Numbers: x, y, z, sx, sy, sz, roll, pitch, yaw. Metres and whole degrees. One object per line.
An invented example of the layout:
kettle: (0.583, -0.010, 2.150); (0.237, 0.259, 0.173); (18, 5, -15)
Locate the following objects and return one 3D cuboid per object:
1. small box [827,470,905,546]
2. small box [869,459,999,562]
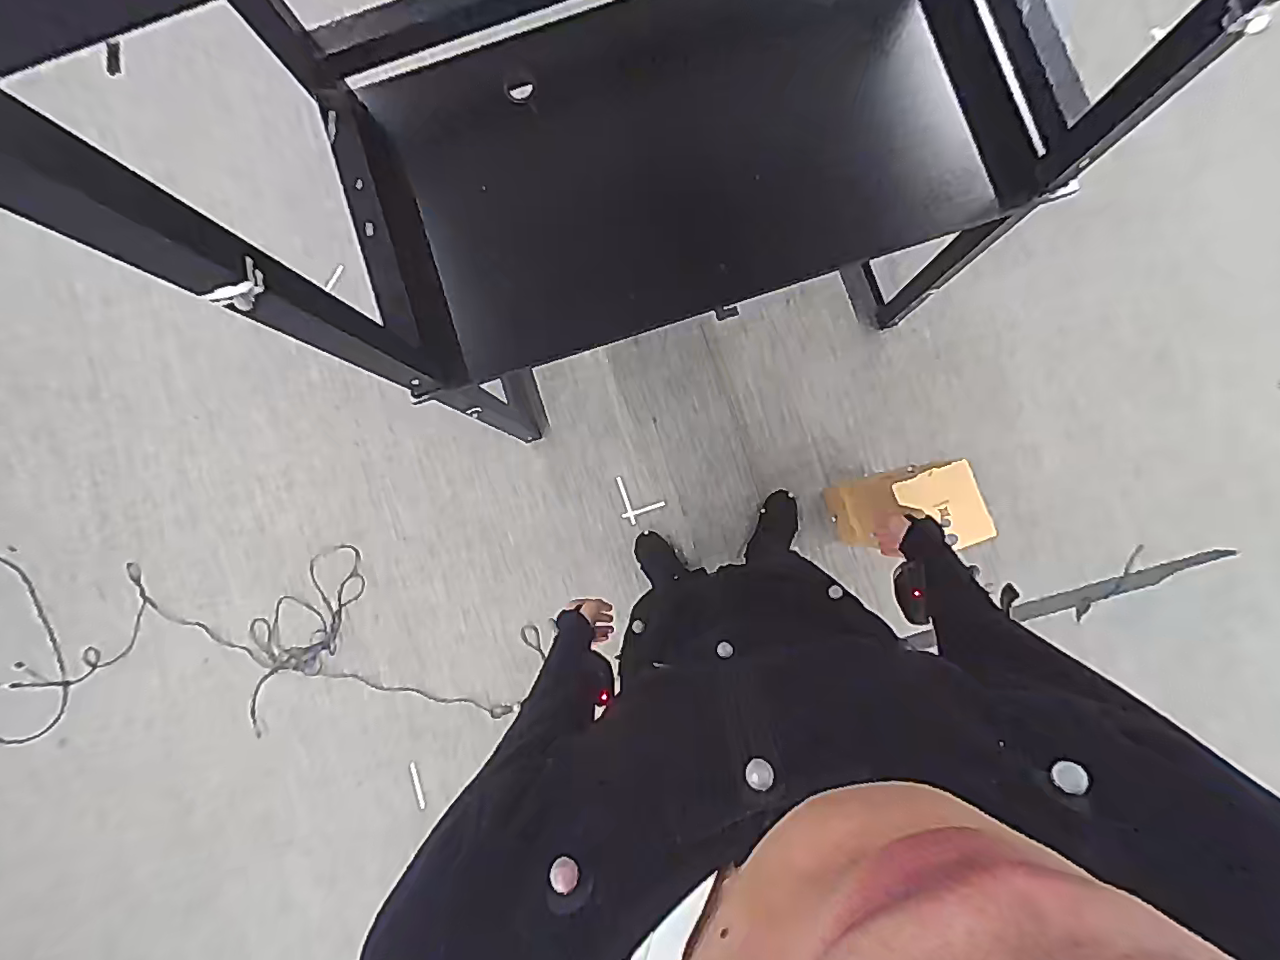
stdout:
small box: (0.658, 0.078, 1.528); (0.179, 0.176, 0.168); (-20, 86, 3)
small box: (0.642, 0.065, 1.201); (0.168, 0.176, 0.179); (-21, 86, 3)
